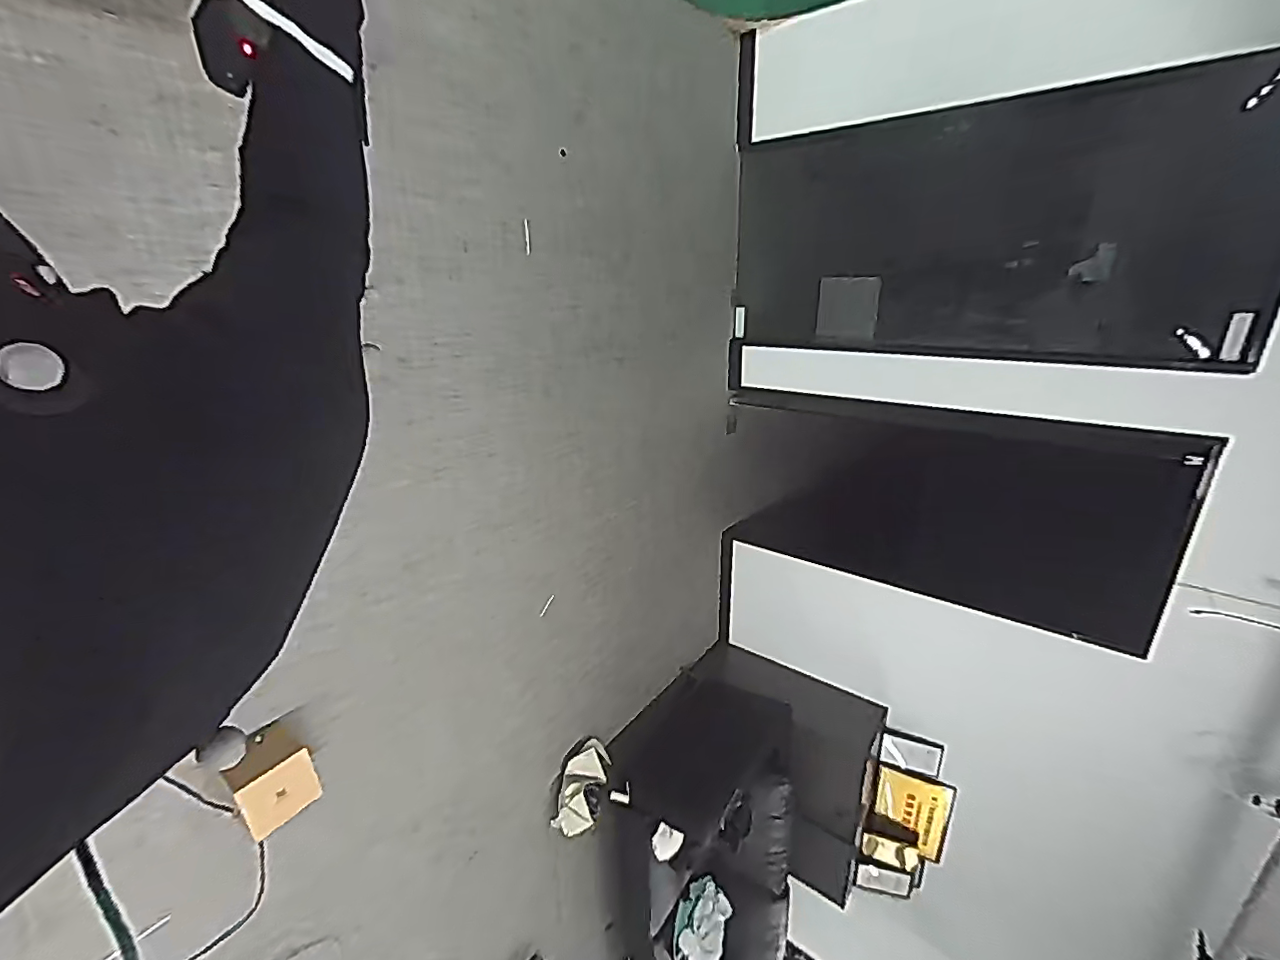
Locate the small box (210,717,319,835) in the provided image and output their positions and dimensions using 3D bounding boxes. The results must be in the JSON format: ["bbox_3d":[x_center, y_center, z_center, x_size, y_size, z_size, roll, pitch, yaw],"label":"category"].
[{"bbox_3d":[-0.985,0.767,1.421,0.168,0.176,0.179,-28,123,-47],"label":"small box"}]
